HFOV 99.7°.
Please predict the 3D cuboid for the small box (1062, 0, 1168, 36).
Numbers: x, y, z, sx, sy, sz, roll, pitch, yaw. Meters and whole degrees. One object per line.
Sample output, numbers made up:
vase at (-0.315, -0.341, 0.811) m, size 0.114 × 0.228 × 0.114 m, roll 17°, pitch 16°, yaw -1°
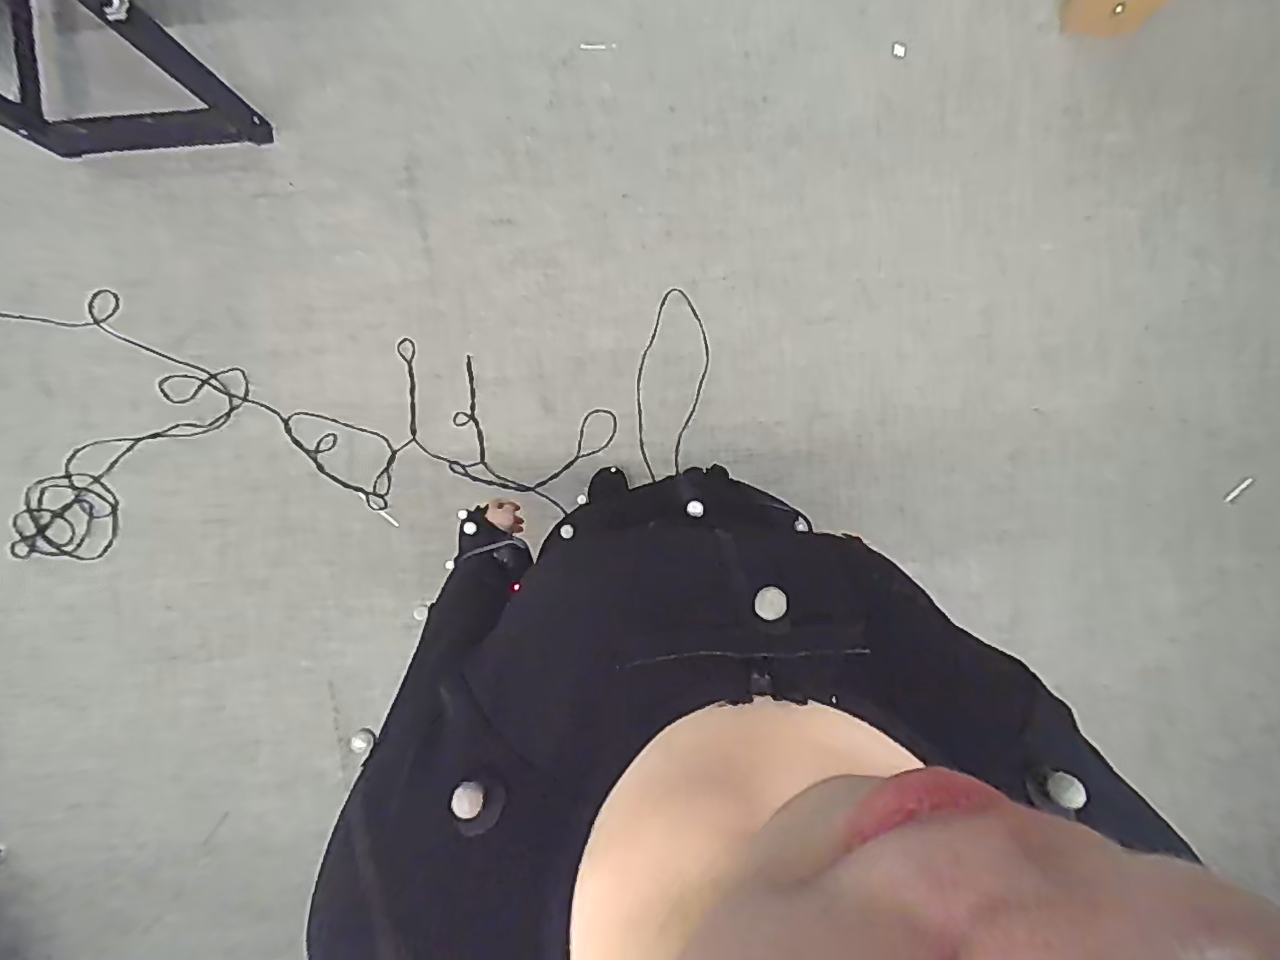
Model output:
small box at (1.219, -1.263, 1.356) m, size 0.179 × 0.176 × 0.168 m, roll 7°, pitch 92°, yaw 0°
